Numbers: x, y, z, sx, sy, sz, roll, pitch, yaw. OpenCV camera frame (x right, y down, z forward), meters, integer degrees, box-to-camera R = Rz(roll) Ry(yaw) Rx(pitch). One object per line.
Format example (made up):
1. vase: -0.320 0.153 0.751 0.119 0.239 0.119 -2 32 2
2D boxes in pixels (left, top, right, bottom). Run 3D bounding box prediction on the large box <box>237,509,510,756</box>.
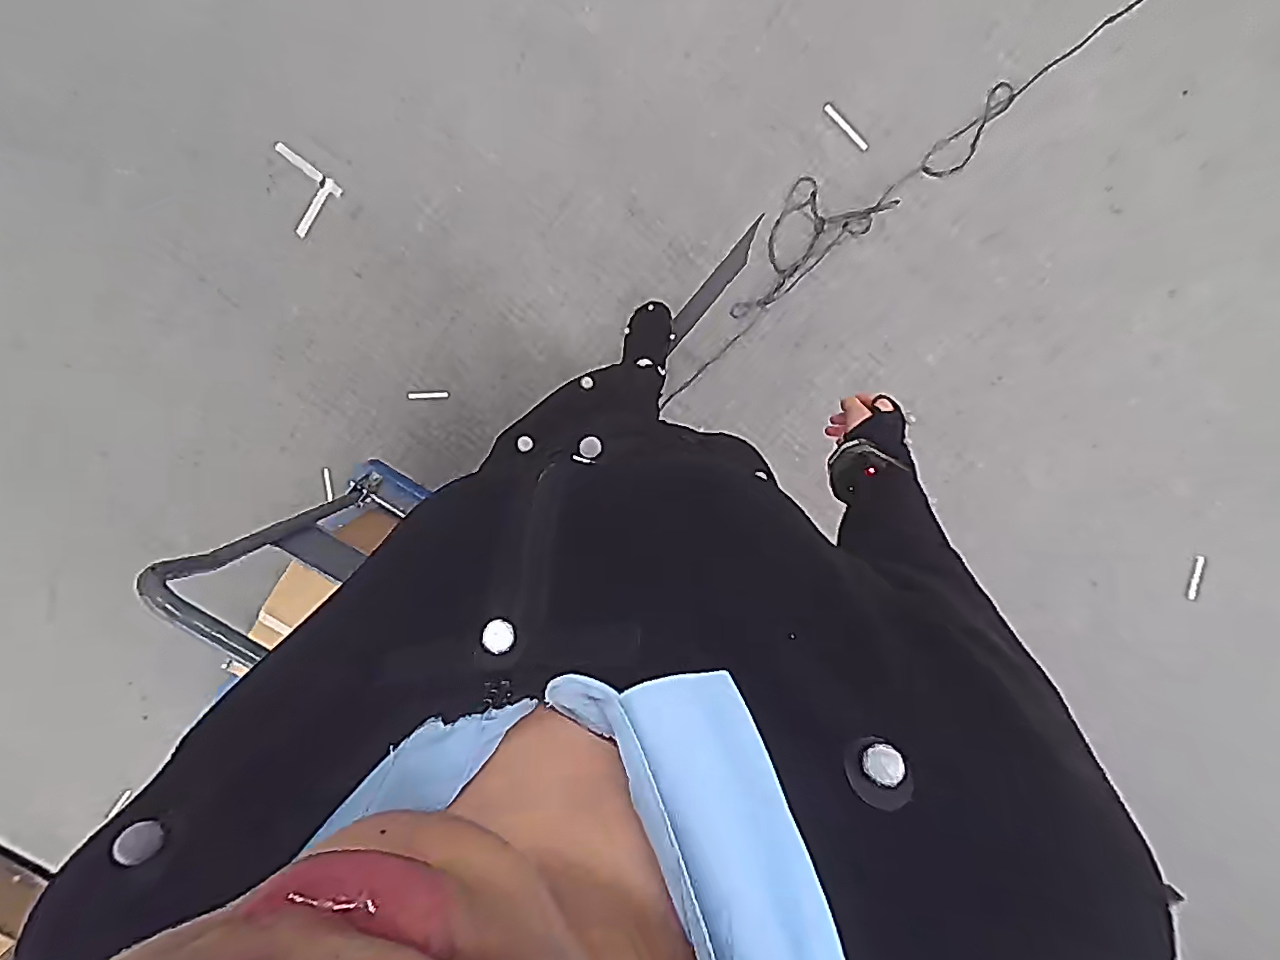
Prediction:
1. large box: -0.575 0.330 1.245 0.408 0.320 0.320 35 100 -7
